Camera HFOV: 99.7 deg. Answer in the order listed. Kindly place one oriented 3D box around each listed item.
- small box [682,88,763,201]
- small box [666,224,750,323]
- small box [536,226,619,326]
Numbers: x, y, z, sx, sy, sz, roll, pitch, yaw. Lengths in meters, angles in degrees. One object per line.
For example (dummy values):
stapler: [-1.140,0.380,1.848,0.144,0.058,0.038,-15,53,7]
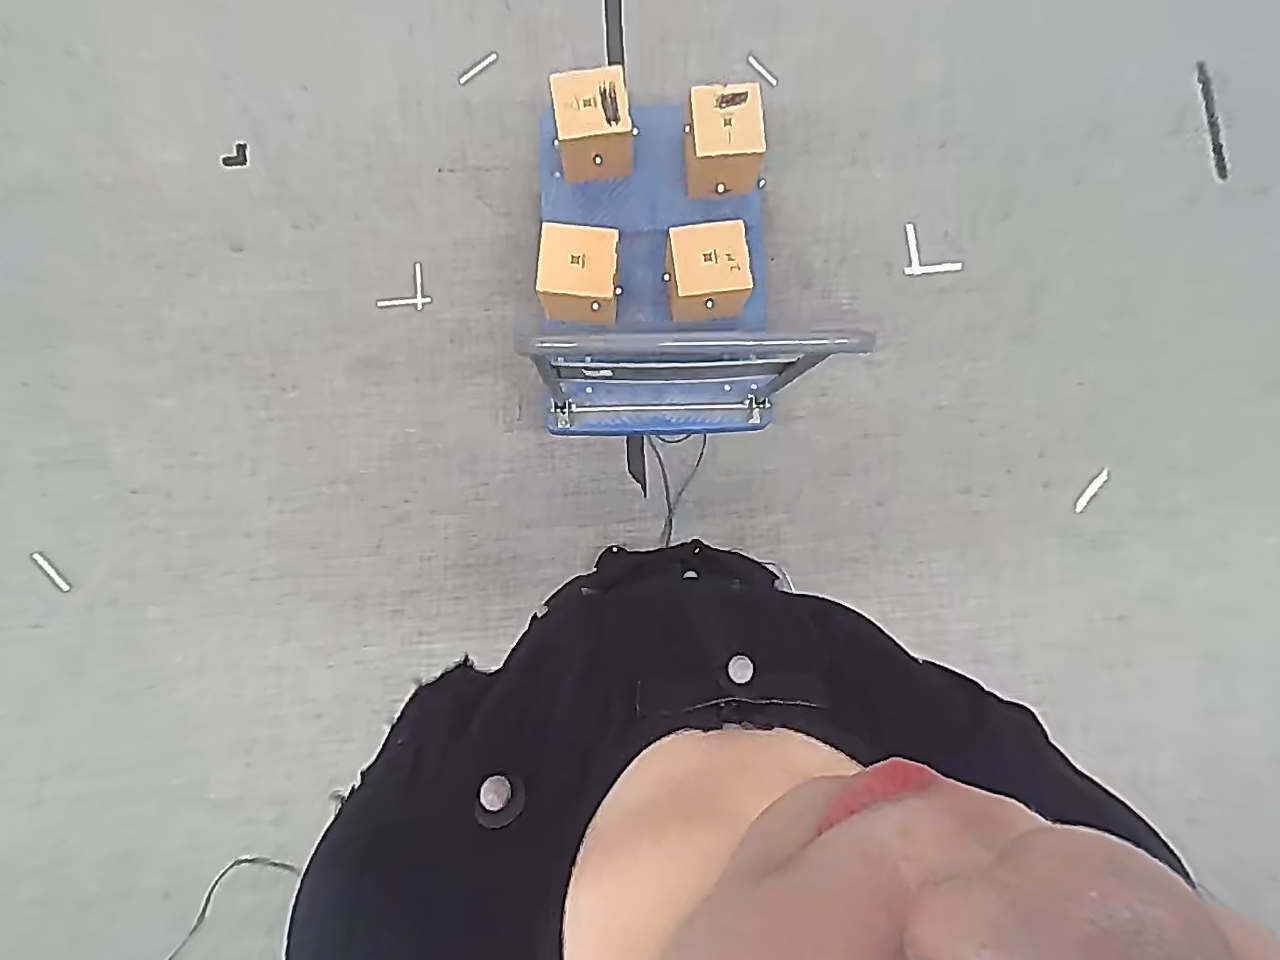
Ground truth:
small box: [0.200,-0.833,1.353,0.168,0.176,0.179,-5,86,-2]
small box: [0.158,-0.497,1.323,0.179,0.176,0.168,-7,85,-2]
small box: [-0.146,-0.487,1.314,0.179,0.176,0.168,5,84,-3]
